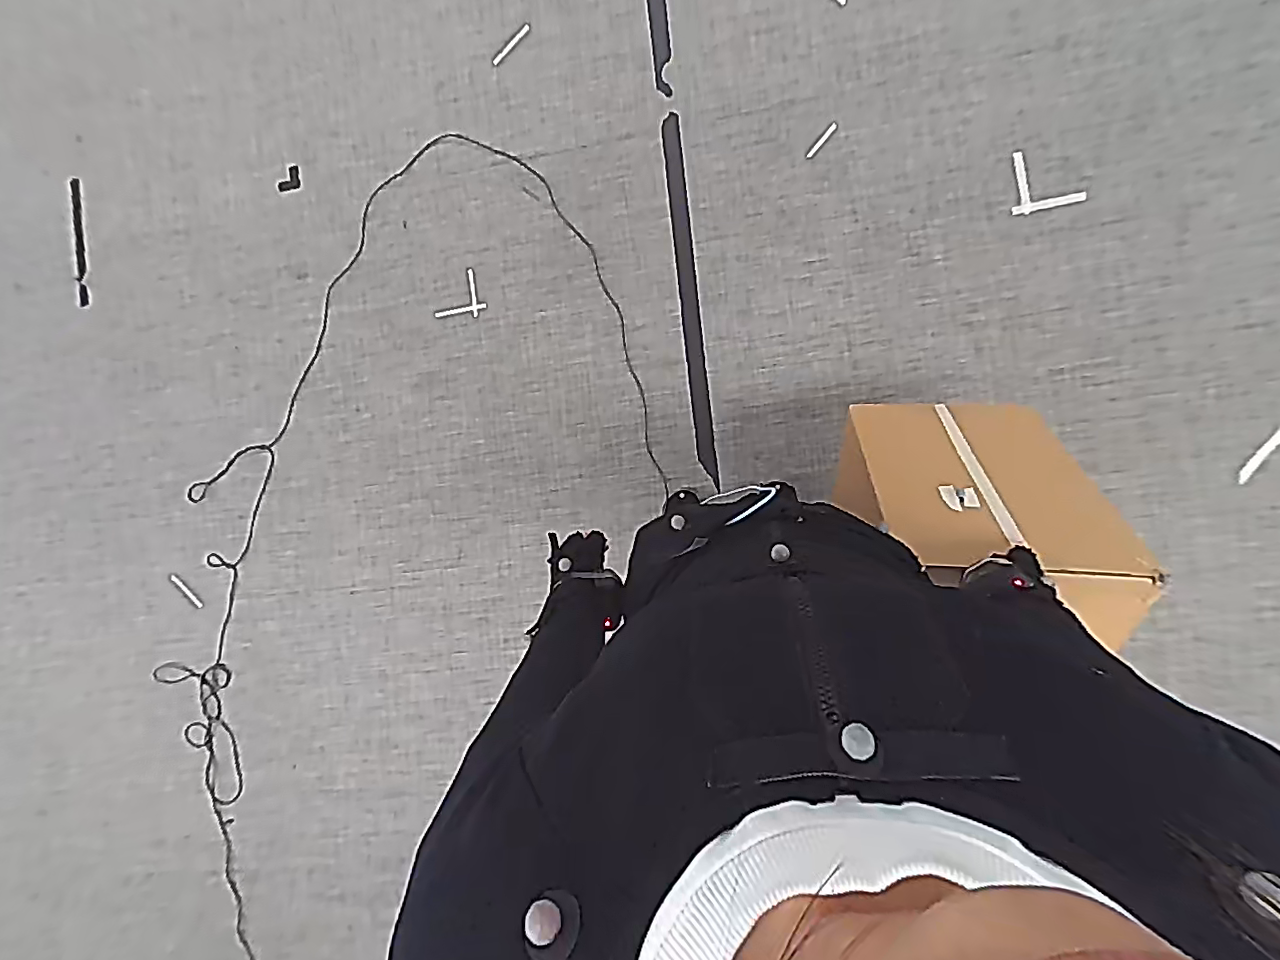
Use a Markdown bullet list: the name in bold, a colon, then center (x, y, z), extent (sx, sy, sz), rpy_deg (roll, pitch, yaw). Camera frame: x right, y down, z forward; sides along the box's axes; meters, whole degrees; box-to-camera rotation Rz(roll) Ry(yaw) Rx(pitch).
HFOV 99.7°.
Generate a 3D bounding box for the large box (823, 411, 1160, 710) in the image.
- **large box**: center (0.520, 0.119, 0.927), extent (0.320, 0.408, 0.320), rpy_deg (1, 129, 9)
